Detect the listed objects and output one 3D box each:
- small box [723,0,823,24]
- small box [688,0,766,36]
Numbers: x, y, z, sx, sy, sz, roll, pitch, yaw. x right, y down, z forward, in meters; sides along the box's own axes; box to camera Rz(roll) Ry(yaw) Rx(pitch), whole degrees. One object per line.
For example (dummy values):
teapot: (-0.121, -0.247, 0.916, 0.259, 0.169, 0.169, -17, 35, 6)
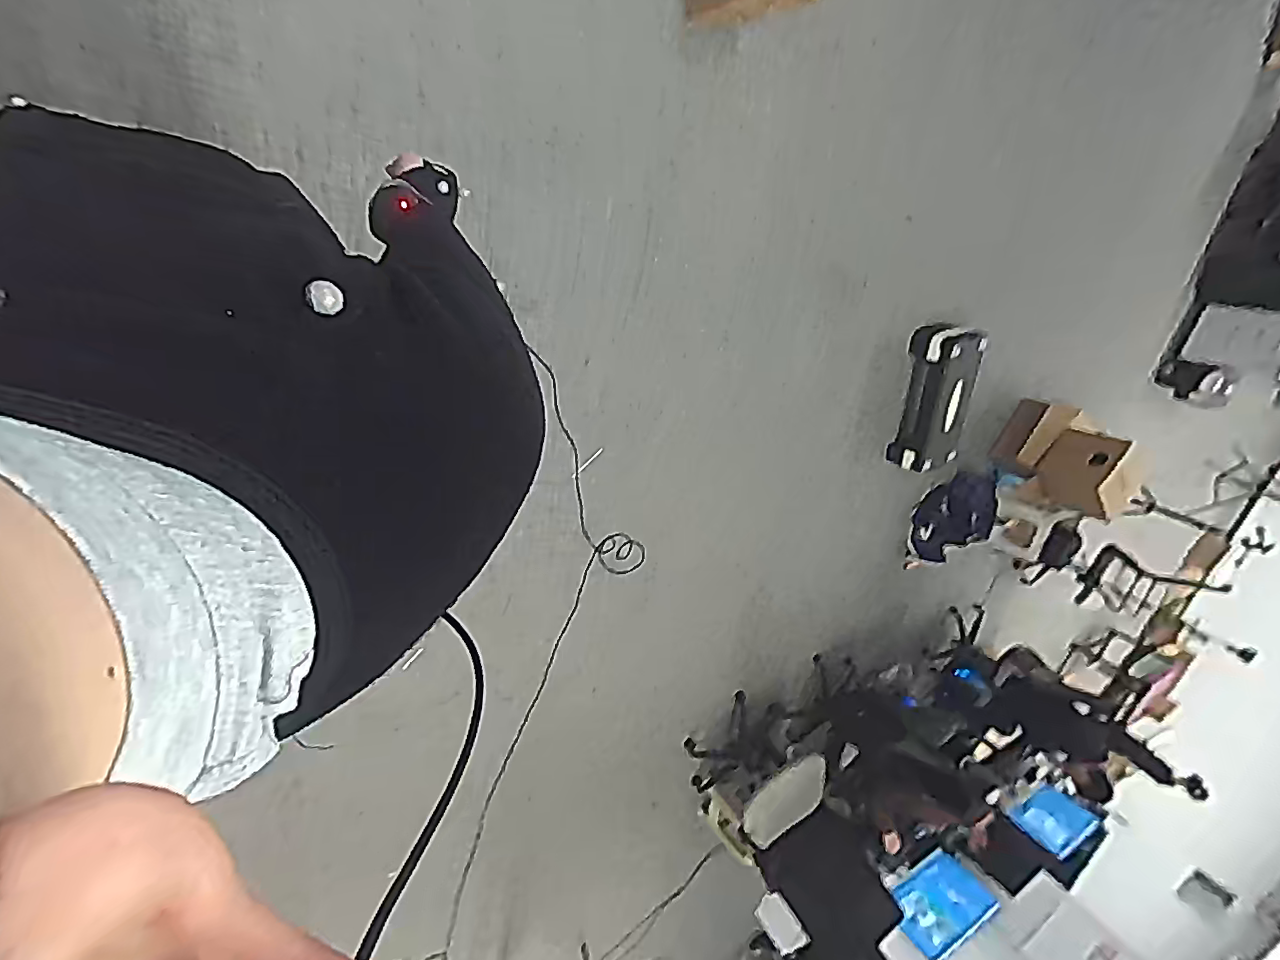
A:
small box: (0.318, -1.197, 1.265, 0.179, 0.176, 0.168, -15, 121, -25)
small box: (0.239, -1.270, 1.390, 0.179, 0.176, 0.168, -17, 123, -26)
